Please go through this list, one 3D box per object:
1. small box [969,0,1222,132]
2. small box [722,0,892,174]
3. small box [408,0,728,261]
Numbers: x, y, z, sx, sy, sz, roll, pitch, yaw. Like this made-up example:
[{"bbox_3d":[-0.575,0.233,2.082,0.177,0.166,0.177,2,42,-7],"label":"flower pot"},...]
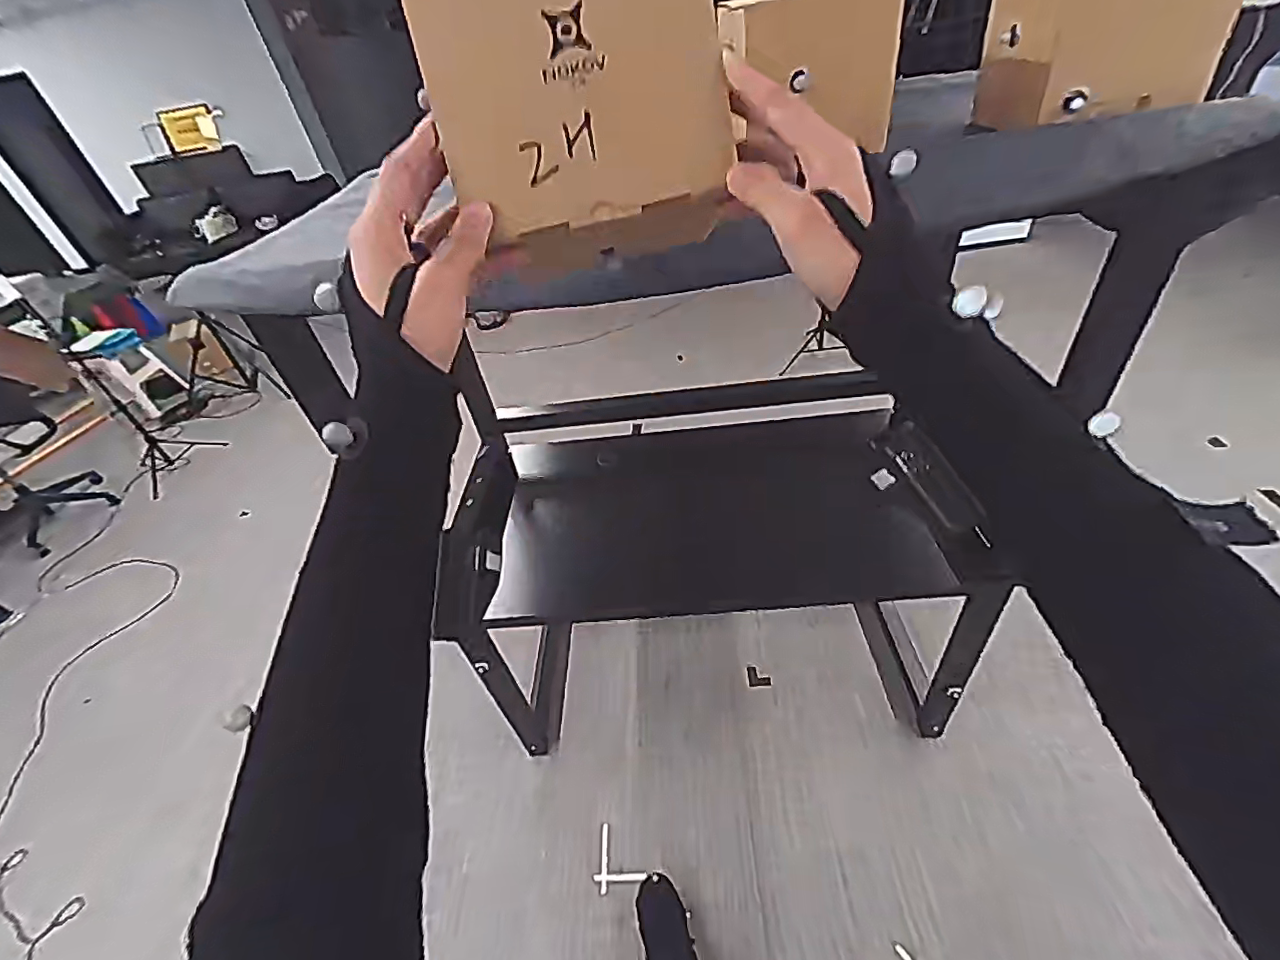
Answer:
[{"bbox_3d":[0.508,-0.508,0.614,0.168,0.176,0.179,-4,37,8],"label":"small box"},{"bbox_3d":[0.196,-0.491,0.667,0.168,0.176,0.179,-6,38,6],"label":"small box"},{"bbox_3d":[-0.046,-0.272,0.379,0.168,0.179,0.176,-12,13,2],"label":"small box"}]
